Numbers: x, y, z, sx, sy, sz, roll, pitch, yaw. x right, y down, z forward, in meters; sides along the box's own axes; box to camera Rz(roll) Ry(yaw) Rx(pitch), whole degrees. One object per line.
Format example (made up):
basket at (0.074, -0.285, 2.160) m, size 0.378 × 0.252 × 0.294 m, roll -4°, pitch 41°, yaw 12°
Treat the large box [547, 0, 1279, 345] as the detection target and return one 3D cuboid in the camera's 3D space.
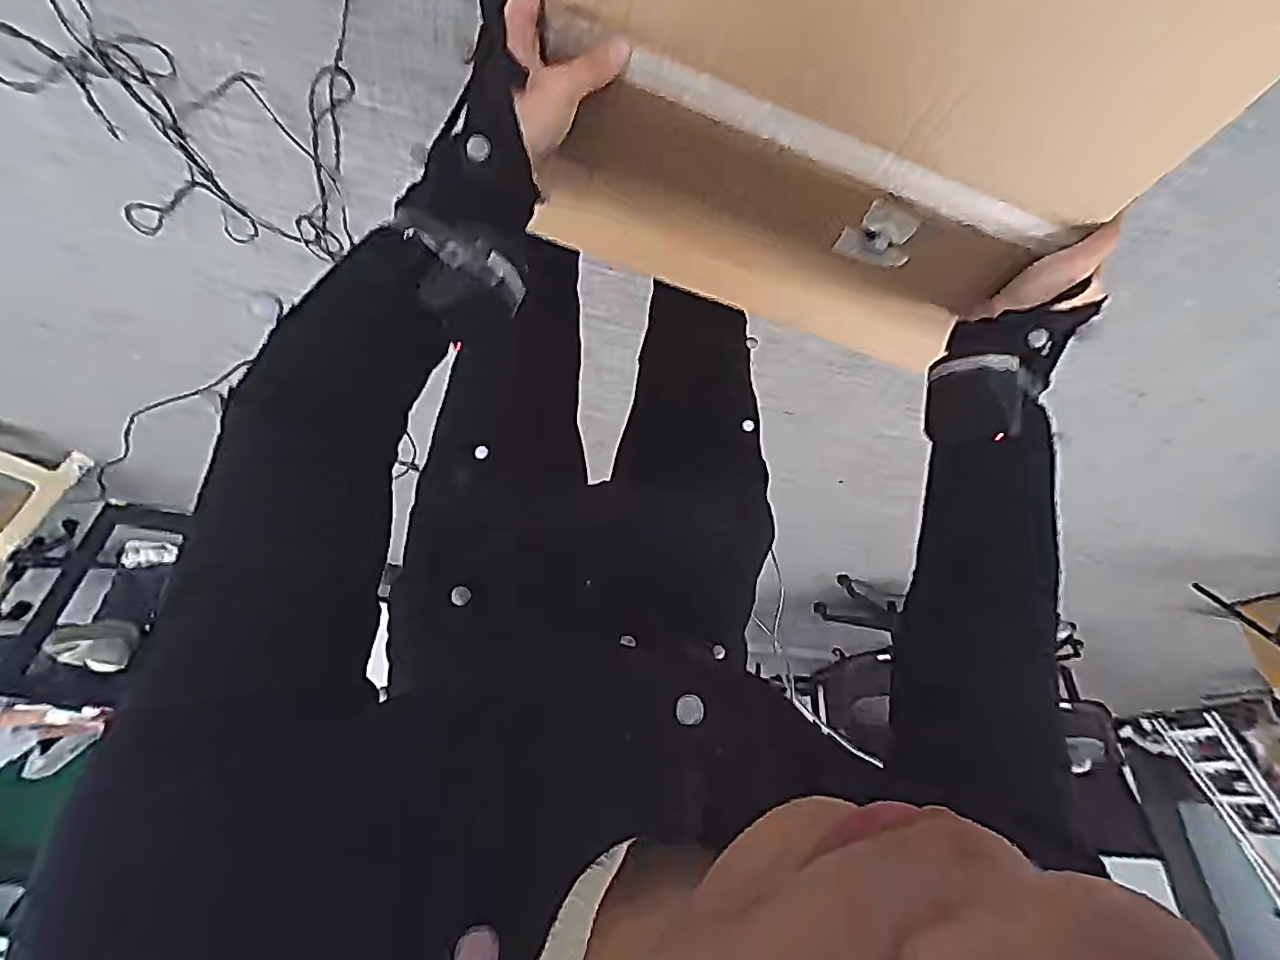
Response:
large box at (0.170, -0.371, 0.422) m, size 0.408 × 0.320 × 0.320 m, roll 15°, pitch 150°, yaw -11°
